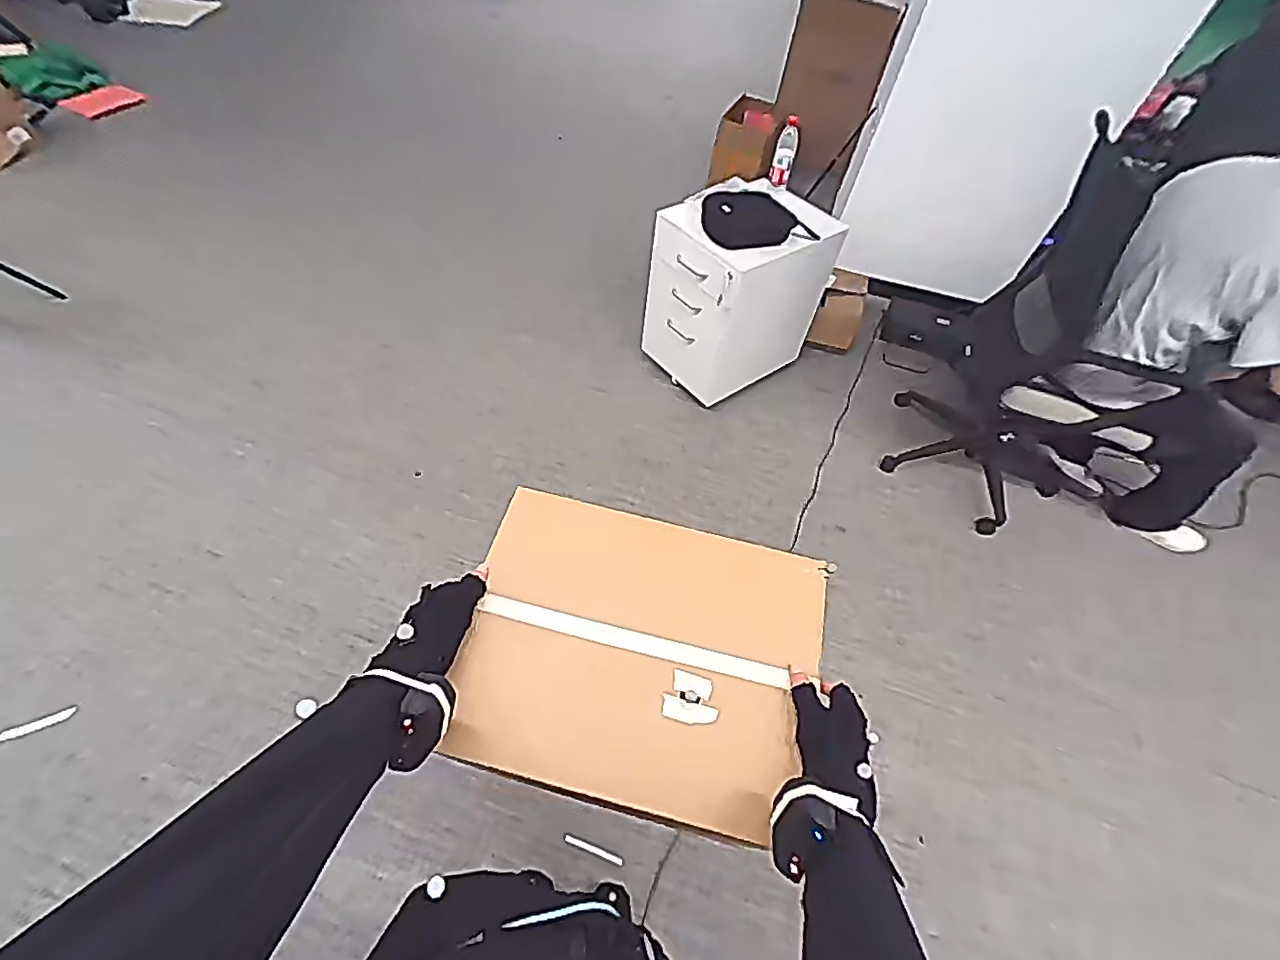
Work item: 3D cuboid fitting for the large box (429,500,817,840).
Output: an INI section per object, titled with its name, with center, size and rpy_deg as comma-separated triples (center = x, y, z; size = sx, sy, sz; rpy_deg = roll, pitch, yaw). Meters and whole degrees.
[large box]
center = -0.010, 0.270, 0.755
size = 0.408, 0.320, 0.320
rpy_deg = 14, 59, 3
